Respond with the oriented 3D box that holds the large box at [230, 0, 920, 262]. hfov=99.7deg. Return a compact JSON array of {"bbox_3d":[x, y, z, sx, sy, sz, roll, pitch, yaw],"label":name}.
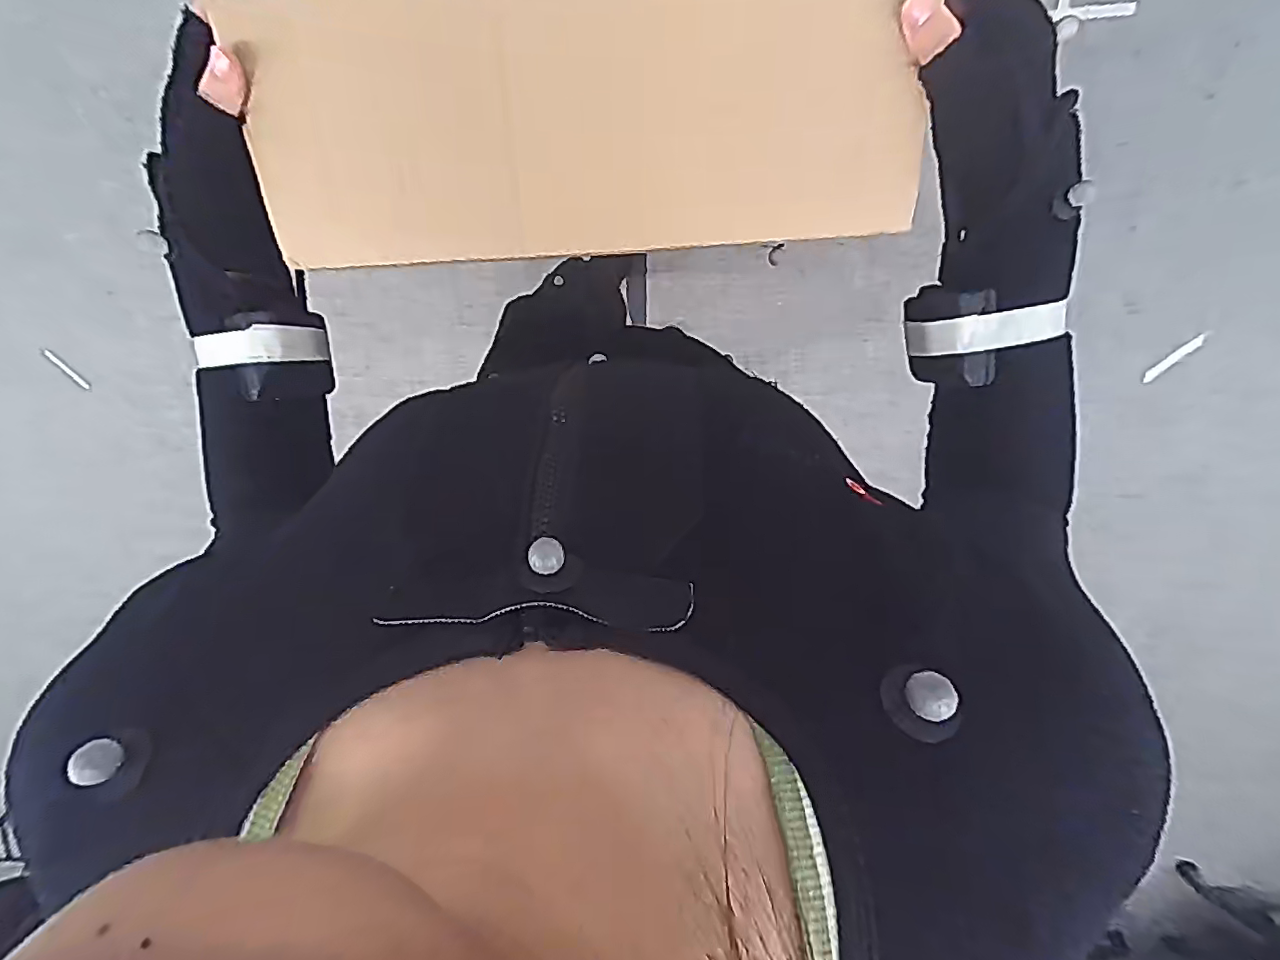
[{"bbox_3d":[-0.034,-0.361,0.432,0.408,0.320,0.320,-2,114,4],"label":"large box"}]
